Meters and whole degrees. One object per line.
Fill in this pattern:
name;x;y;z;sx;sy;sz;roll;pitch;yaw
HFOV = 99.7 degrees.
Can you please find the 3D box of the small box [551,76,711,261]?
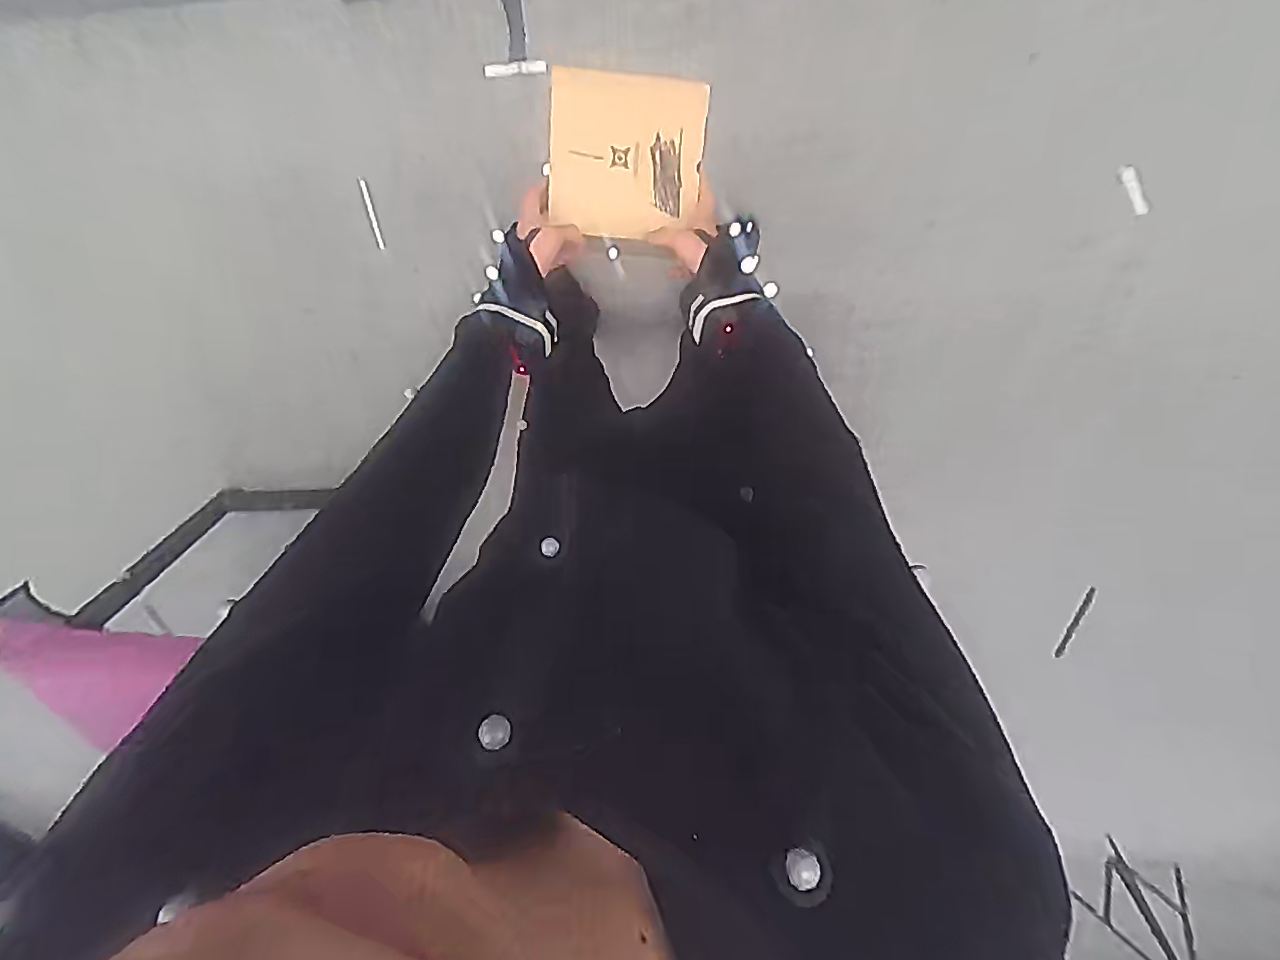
small box;-0.017;-0.380;0.692;0.179;0.176;0.168;3;106;-4
